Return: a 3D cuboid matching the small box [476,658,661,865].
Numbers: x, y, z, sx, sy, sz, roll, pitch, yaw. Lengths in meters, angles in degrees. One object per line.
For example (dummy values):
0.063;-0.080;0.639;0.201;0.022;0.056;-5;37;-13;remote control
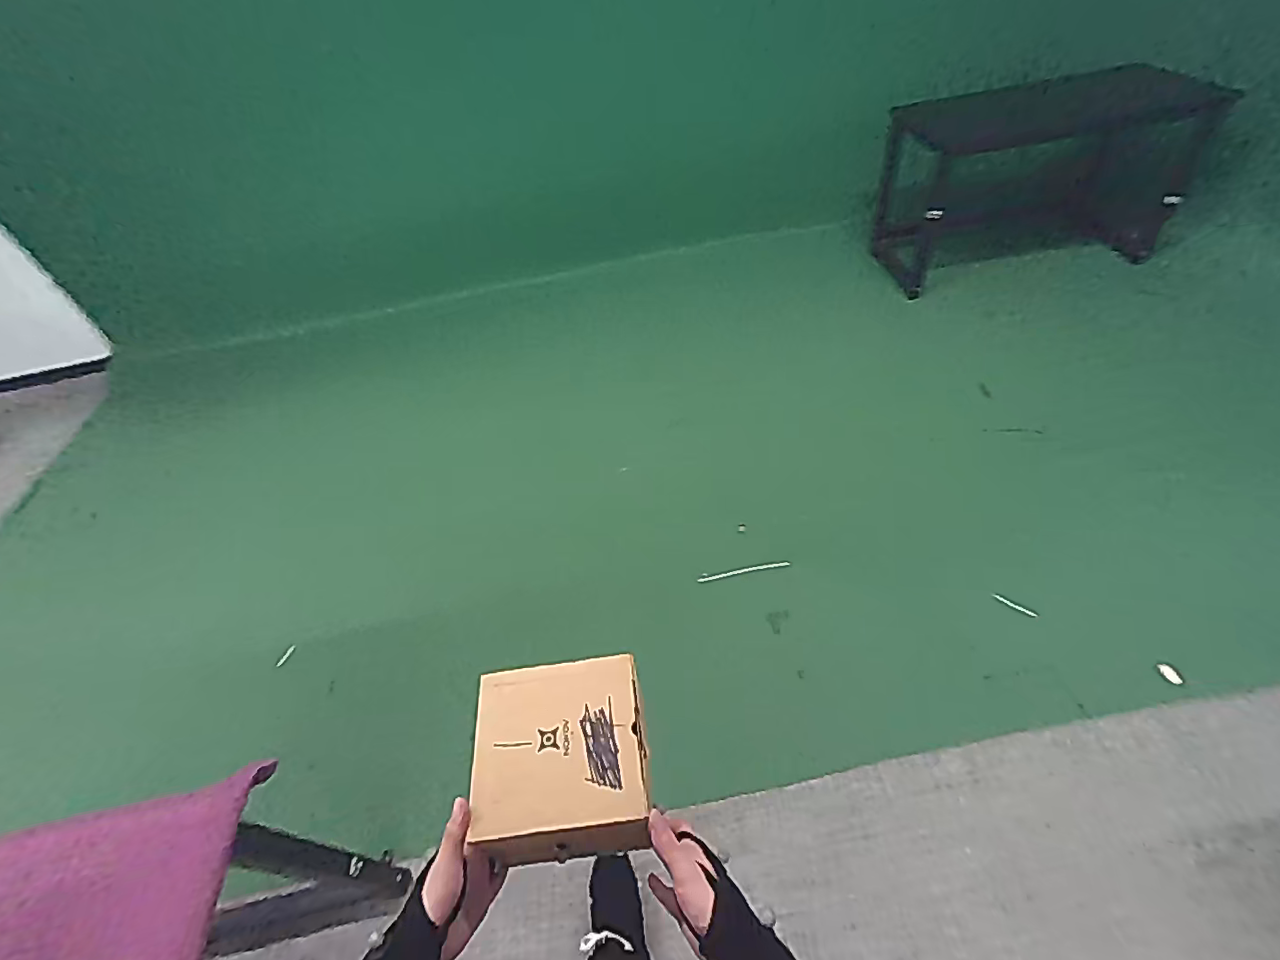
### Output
-0.070;0.323;0.619;0.179;0.176;0.168;-6;47;-1;small box
